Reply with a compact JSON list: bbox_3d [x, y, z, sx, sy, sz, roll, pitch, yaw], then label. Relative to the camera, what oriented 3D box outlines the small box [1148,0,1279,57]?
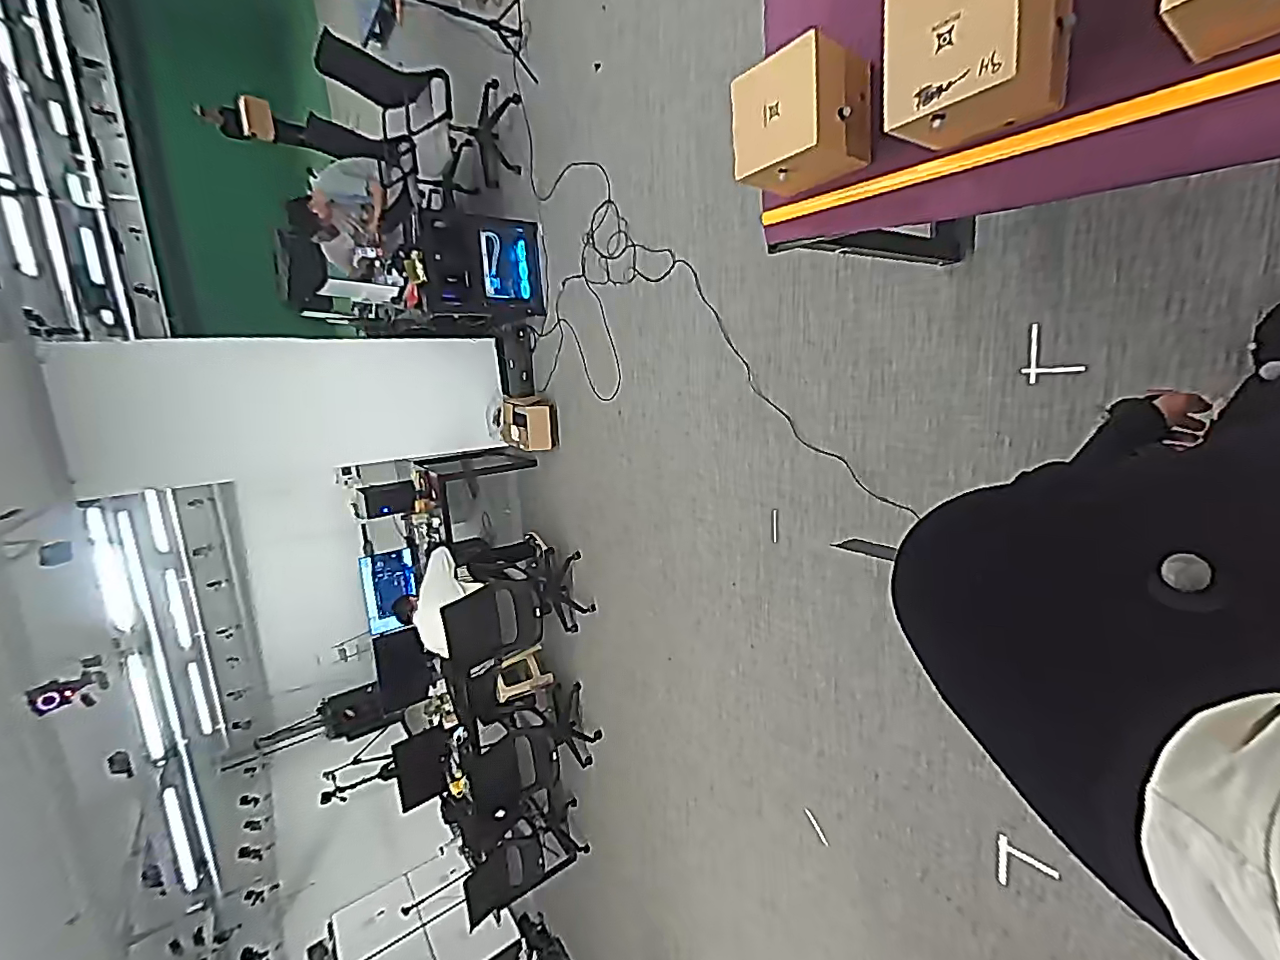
[{"bbox_3d":[0.613,-0.536,0.494,0.179,0.176,0.168,10,106,54],"label":"small box"}]

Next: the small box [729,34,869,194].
[{"bbox_3d":[0.280,-0.623,0.946,0.179,0.176,0.168,9,106,53],"label":"small box"}]

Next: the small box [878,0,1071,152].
[{"bbox_3d":[0.446,-0.574,0.724,0.168,0.176,0.179,13,109,55],"label":"small box"}]
